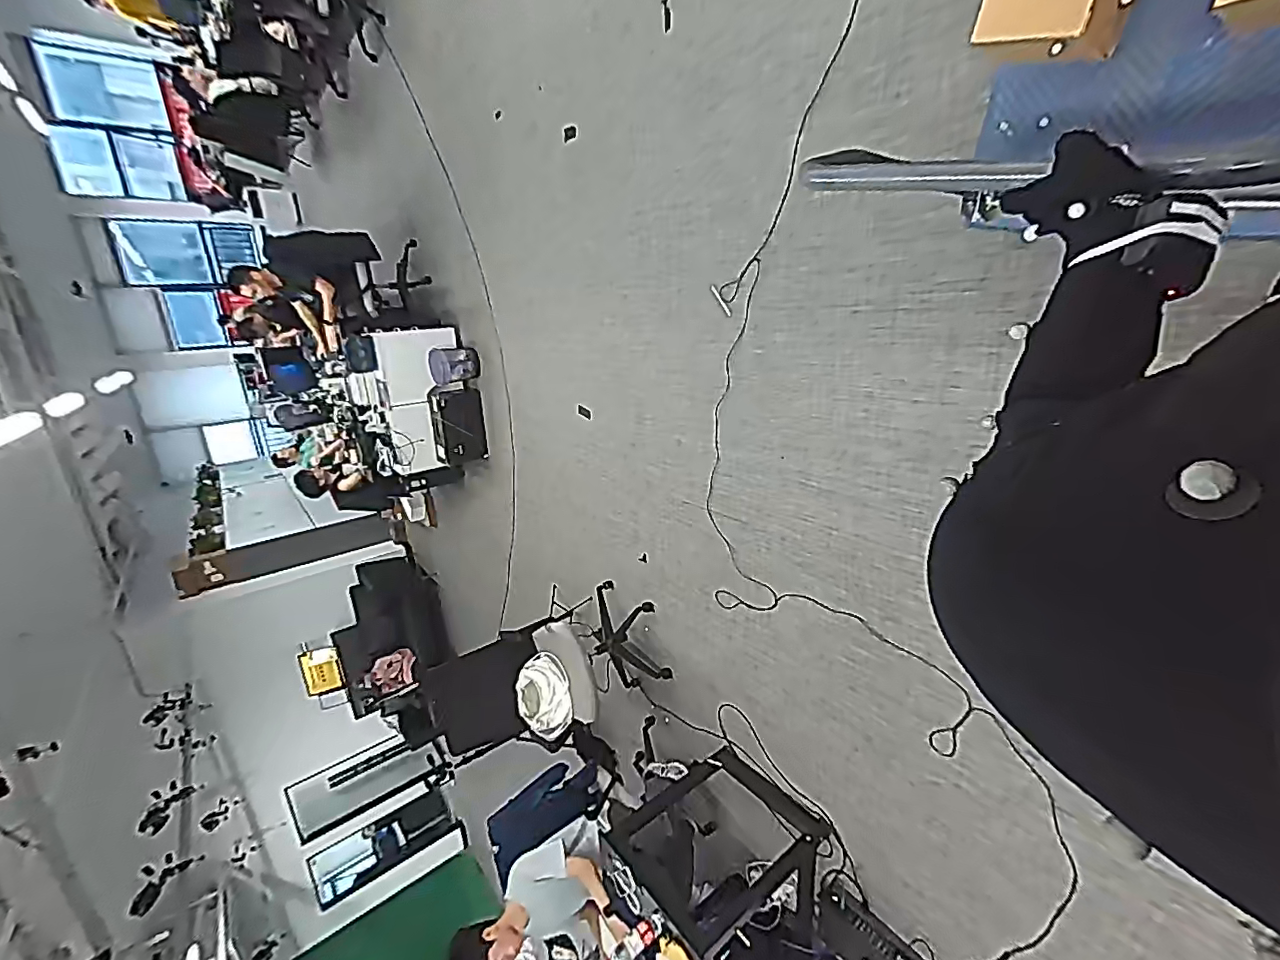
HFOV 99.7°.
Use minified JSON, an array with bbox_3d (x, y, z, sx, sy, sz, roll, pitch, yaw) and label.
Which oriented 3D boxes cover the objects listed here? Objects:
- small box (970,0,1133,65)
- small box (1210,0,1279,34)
[{"bbox_3d":[0.705,-0.819,0.908,0.179,0.176,0.168,34,129,39],"label":"small box"},{"bbox_3d":[0.895,-0.710,0.692,0.179,0.176,0.168,25,124,46],"label":"small box"}]
